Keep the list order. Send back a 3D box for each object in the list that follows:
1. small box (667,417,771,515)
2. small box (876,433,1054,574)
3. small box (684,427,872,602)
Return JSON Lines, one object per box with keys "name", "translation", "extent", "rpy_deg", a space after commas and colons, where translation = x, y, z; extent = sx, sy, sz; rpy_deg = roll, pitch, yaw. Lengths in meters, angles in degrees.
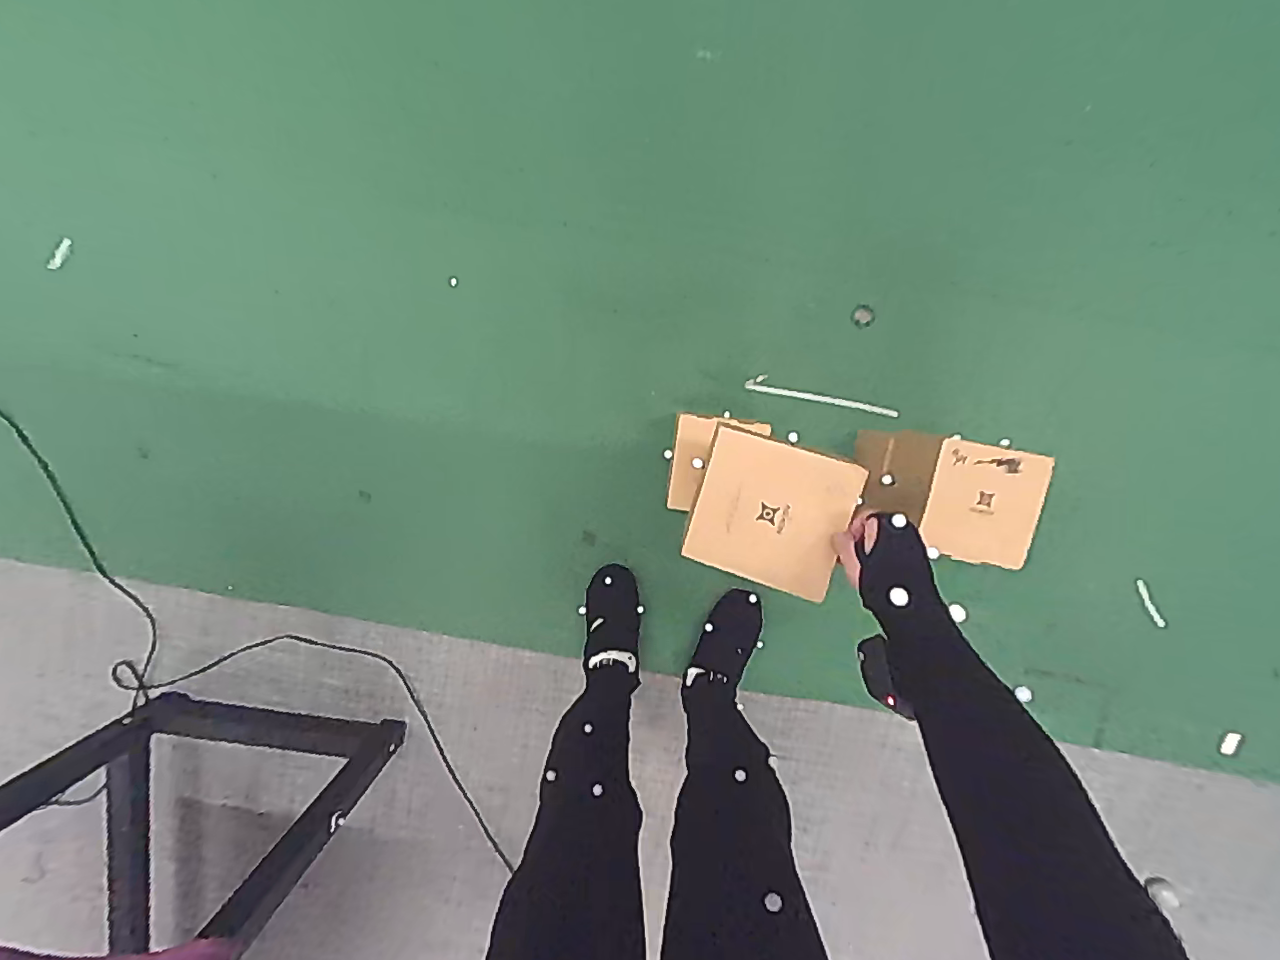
{"name": "small box", "translation": [0.146, -0.026, 1.051], "extent": [0.168, 0.176, 0.179], "rpy_deg": [7, 97, 2]}
{"name": "small box", "translation": [0.508, 0.029, 0.876], "extent": [0.168, 0.176, 0.179], "rpy_deg": [12, 100, 0]}
{"name": "small box", "translation": [0.166, 0.032, 0.706], "extent": [0.179, 0.176, 0.168], "rpy_deg": [18, 99, 4]}
